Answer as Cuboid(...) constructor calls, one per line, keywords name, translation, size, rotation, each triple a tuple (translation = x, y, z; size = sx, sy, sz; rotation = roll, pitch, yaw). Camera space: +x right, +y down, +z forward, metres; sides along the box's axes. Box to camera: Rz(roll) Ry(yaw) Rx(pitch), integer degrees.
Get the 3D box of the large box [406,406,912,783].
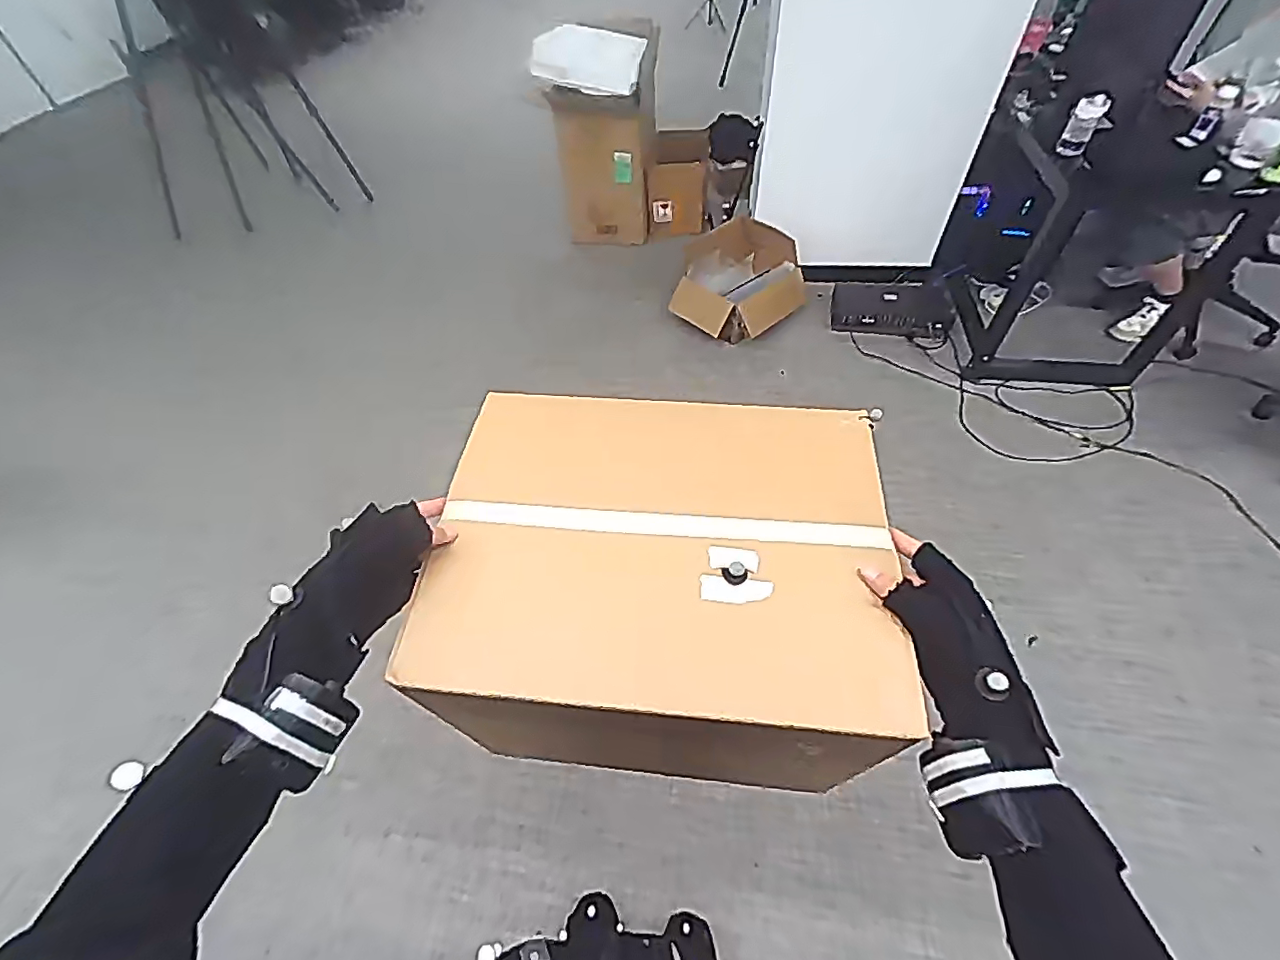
Cuboid(name="large box", translation=(0.024, 0.138, 0.623), size=(0.408, 0.320, 0.320), rotation=(4, 55, 5))
